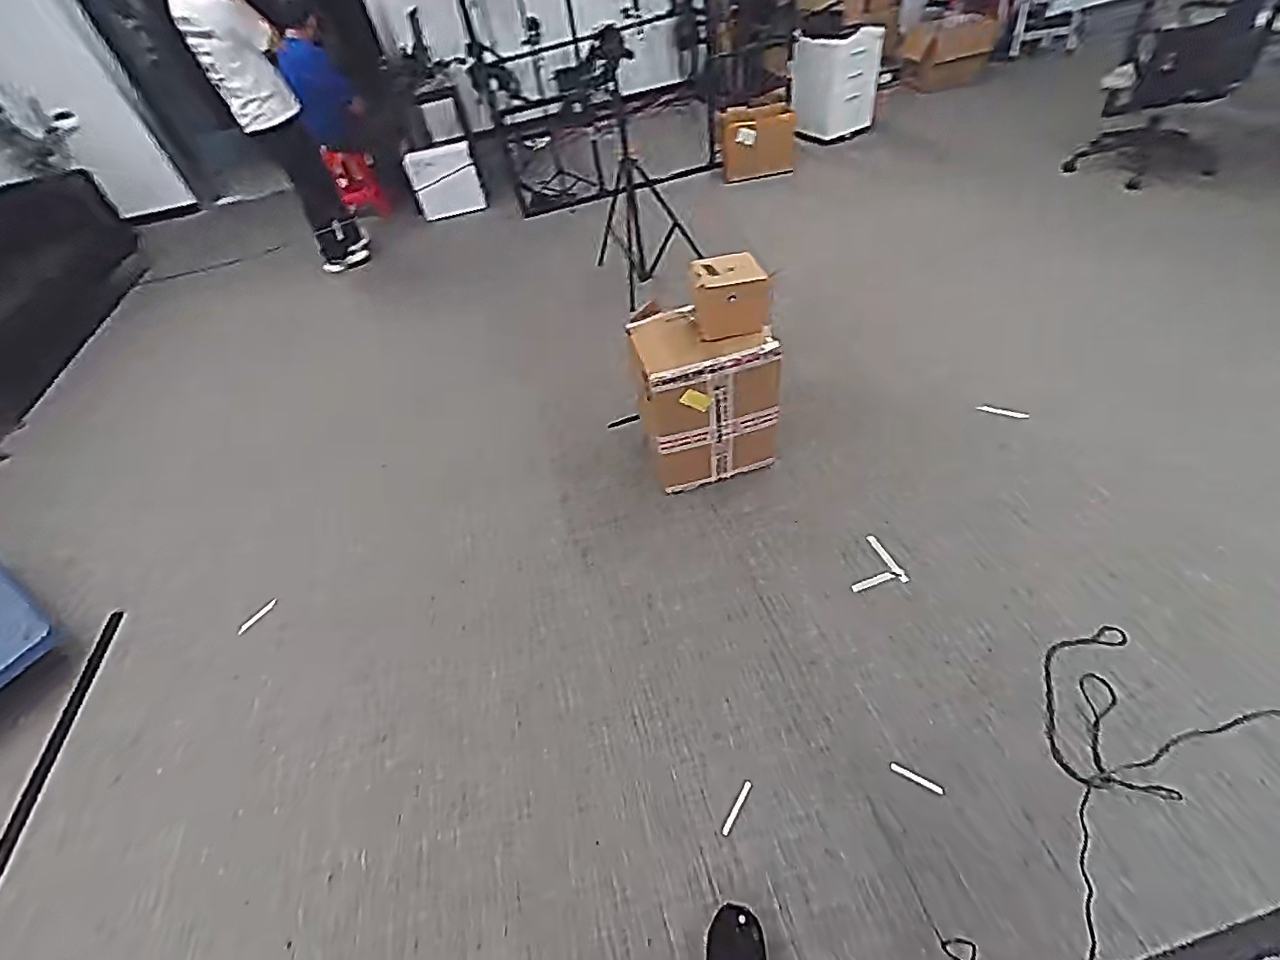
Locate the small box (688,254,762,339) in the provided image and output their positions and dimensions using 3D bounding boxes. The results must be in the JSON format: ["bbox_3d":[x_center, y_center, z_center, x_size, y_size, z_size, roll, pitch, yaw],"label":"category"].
[{"bbox_3d":[0.247,-0.531,1.581,0.179,0.176,0.168,-11,48,-3],"label":"small box"}]
